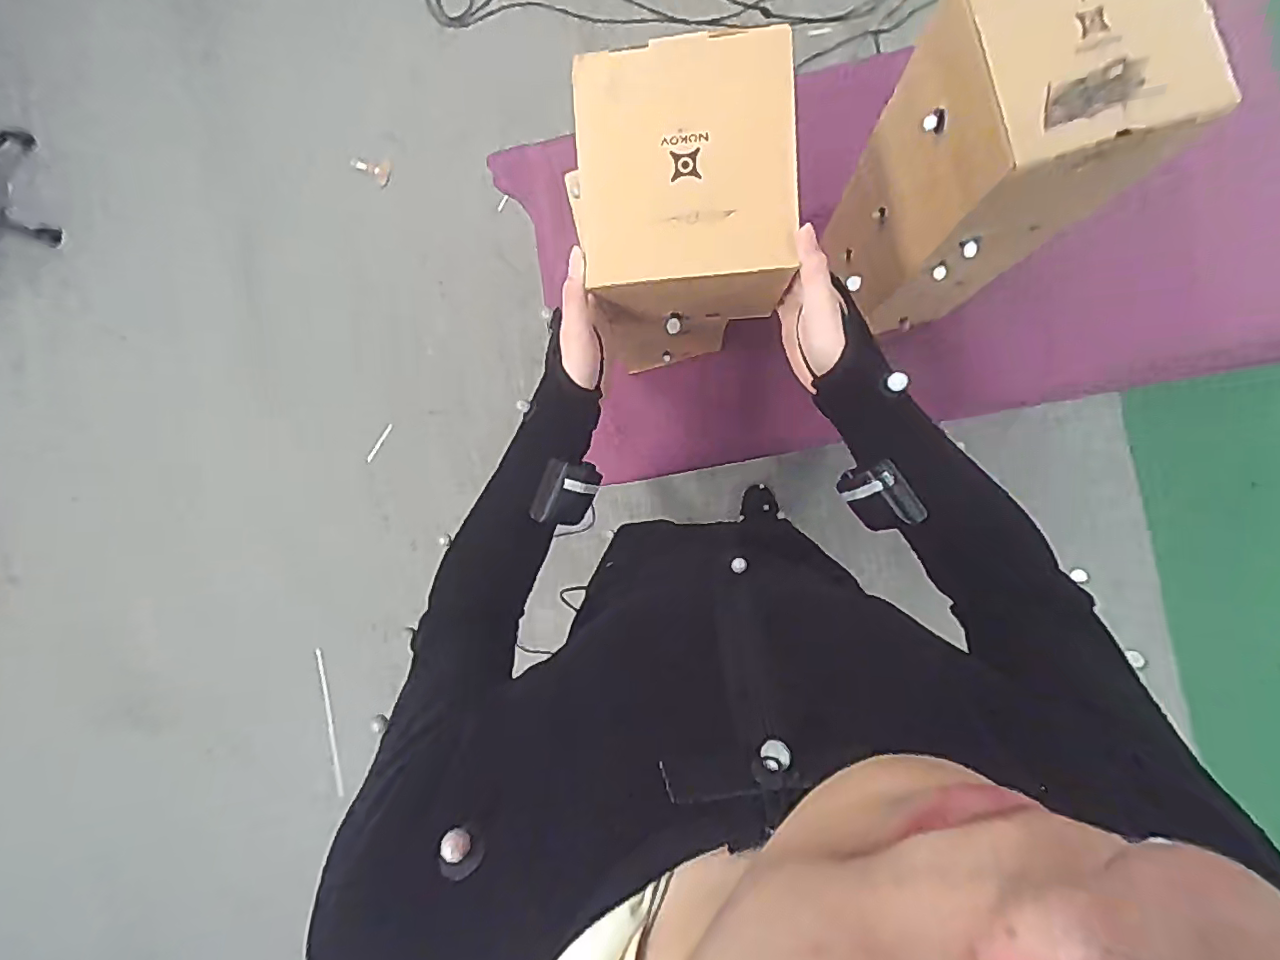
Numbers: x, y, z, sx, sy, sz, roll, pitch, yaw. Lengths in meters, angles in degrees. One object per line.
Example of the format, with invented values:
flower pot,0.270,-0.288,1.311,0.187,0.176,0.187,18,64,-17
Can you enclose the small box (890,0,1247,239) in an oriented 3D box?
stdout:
small box,0.352,-0.343,0.485,0.168,0.176,0.179,-14,85,5

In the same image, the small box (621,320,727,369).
small box,0.033,-0.294,0.849,0.168,0.176,0.179,-16,87,5

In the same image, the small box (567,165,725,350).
small box,0.018,-0.287,0.686,0.168,0.176,0.179,-14,87,5

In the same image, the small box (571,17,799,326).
small box,0.041,-0.246,0.476,0.168,0.176,0.179,-2,95,7

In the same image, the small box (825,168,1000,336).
small box,0.392,-0.340,0.812,0.168,0.176,0.179,-13,87,6
